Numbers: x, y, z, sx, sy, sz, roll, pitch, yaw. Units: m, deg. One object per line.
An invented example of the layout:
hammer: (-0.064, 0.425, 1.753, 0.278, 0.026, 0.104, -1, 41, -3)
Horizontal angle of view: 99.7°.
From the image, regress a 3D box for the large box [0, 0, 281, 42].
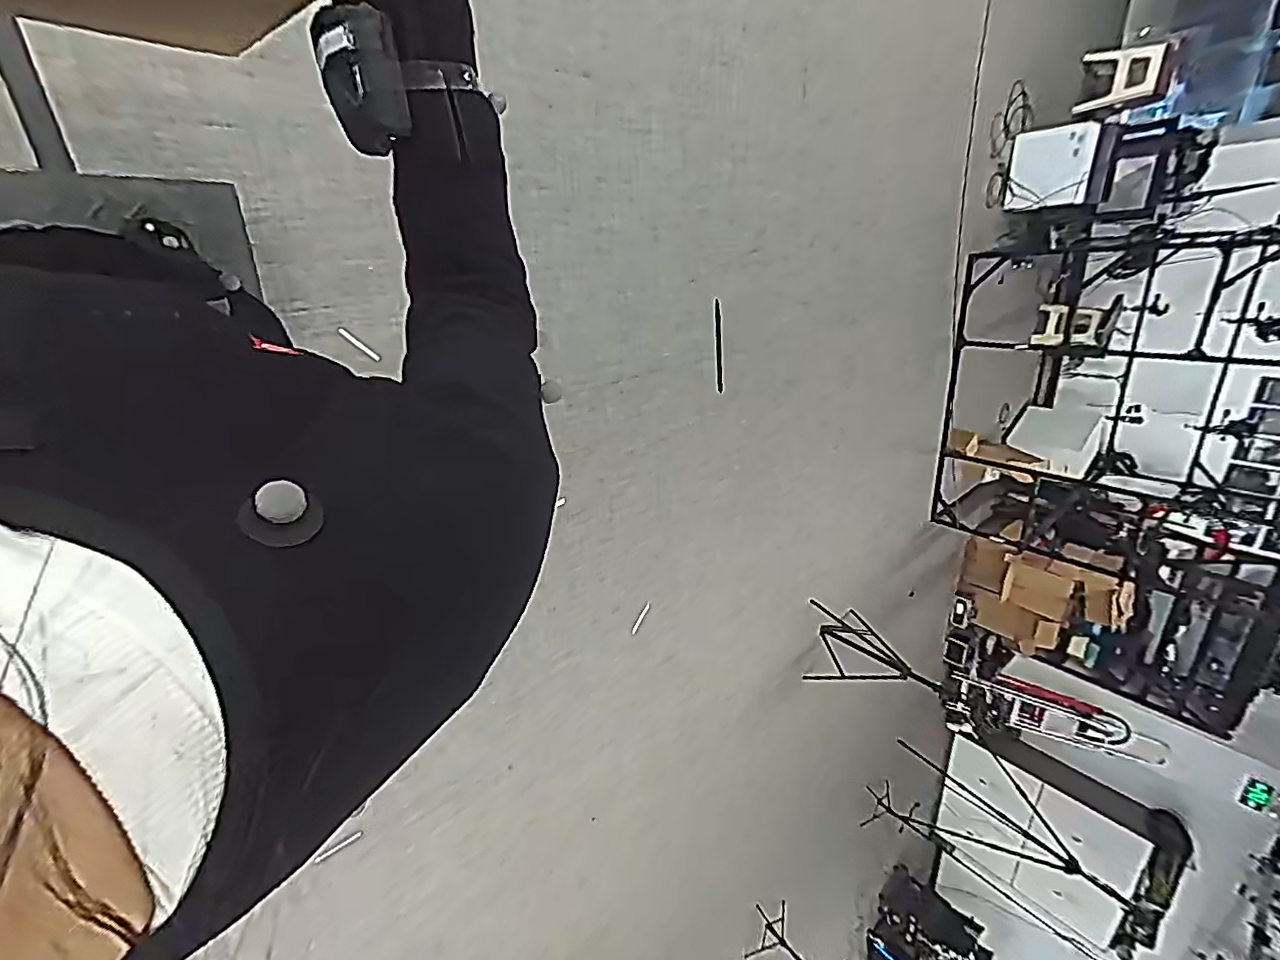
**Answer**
large box: (-0.411, -0.415, 0.204, 0.408, 0.320, 0.320, -19, 127, -38)
